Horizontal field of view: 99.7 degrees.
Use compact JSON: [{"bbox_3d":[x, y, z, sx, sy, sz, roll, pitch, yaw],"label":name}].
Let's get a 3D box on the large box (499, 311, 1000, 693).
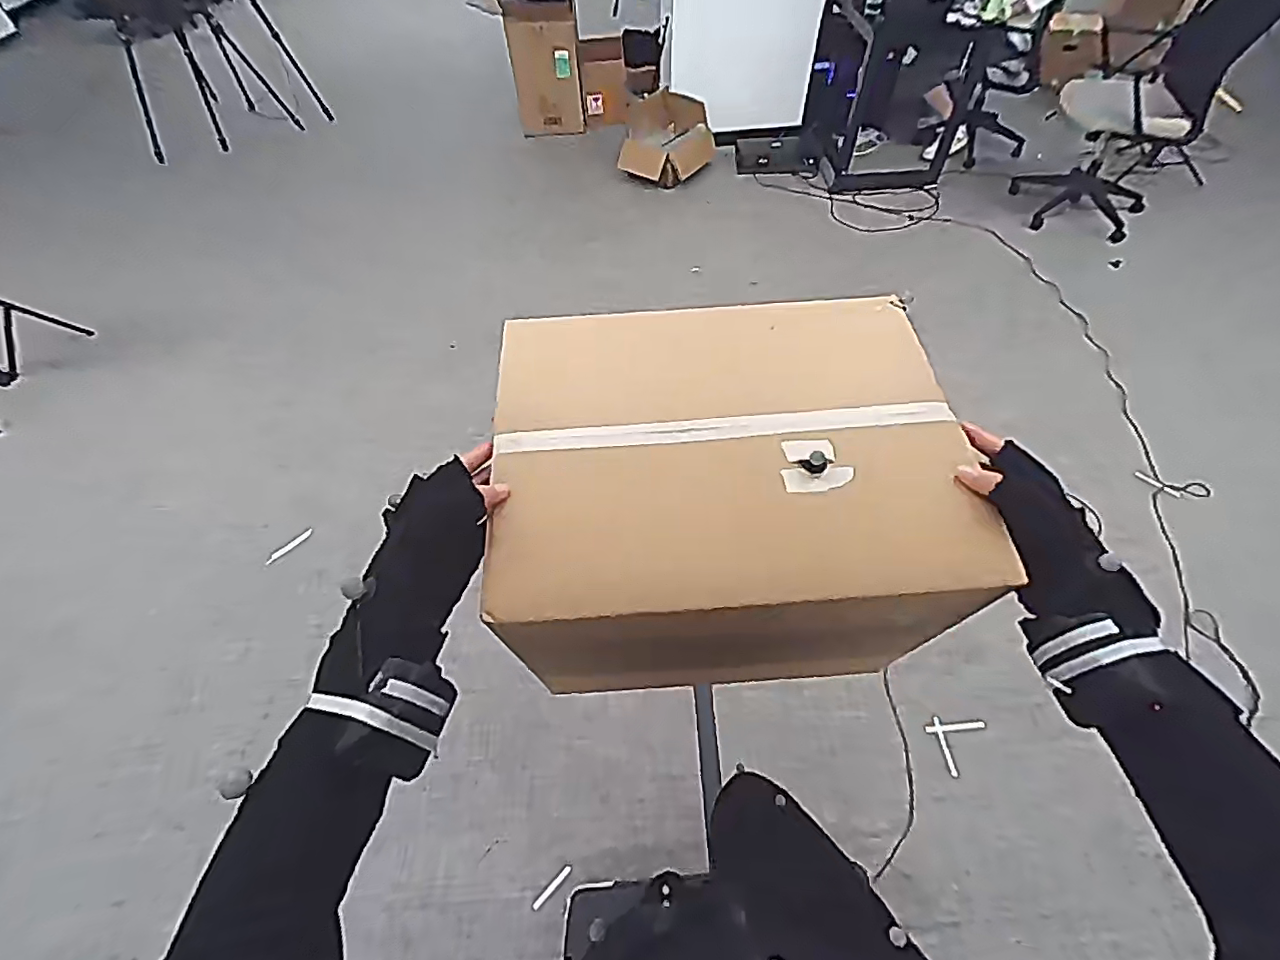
[{"bbox_3d":[0.077,0.040,0.620,0.408,0.320,0.320,-4,59,-1],"label":"large box"}]
